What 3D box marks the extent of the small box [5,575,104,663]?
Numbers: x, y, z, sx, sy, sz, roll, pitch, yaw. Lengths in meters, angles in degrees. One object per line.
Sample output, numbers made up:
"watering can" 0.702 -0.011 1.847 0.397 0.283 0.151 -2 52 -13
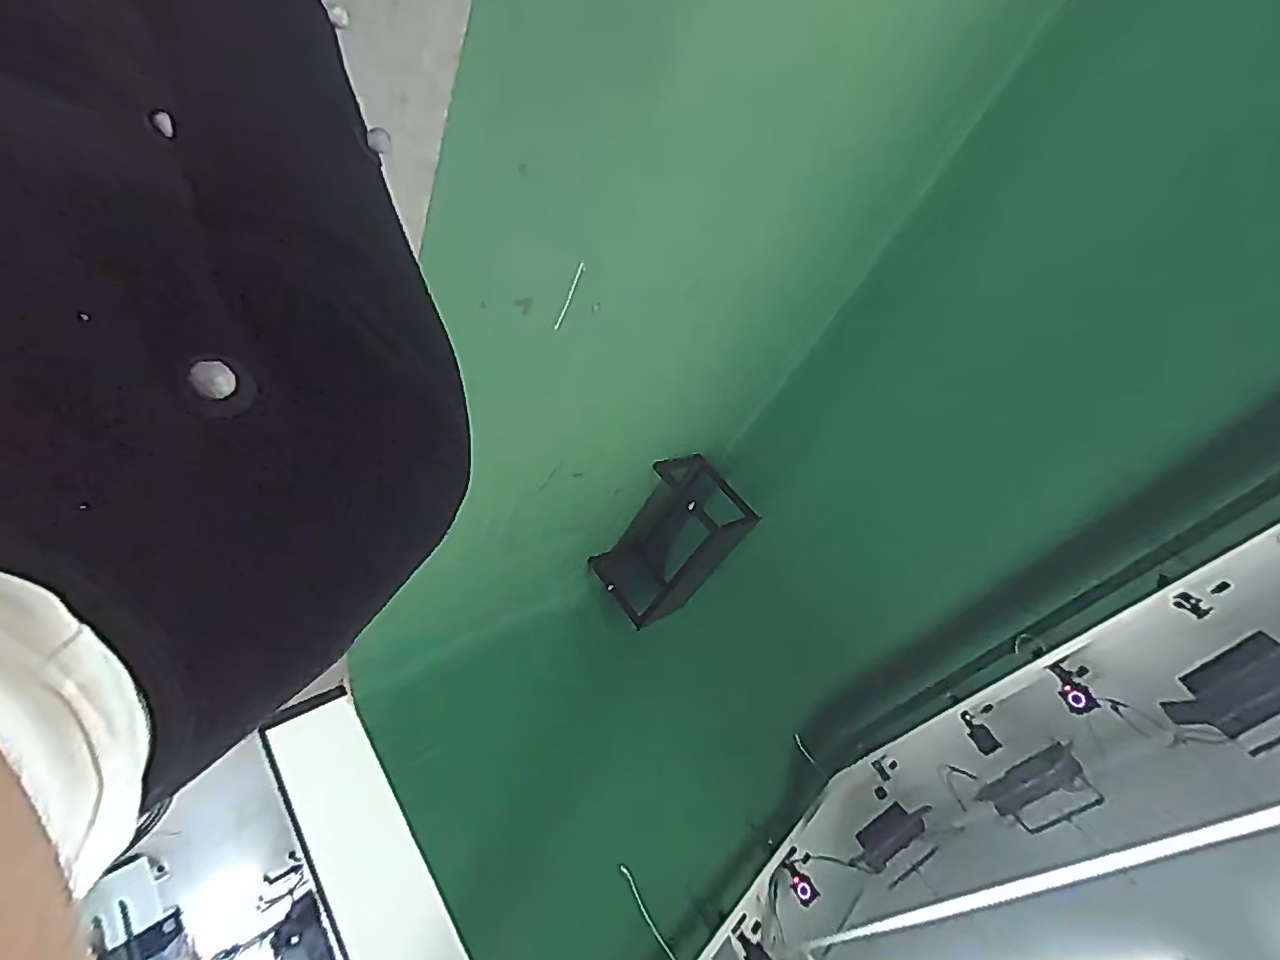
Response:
"small box" -1.815 0.427 1.677 0.179 0.176 0.168 -18 148 -42
